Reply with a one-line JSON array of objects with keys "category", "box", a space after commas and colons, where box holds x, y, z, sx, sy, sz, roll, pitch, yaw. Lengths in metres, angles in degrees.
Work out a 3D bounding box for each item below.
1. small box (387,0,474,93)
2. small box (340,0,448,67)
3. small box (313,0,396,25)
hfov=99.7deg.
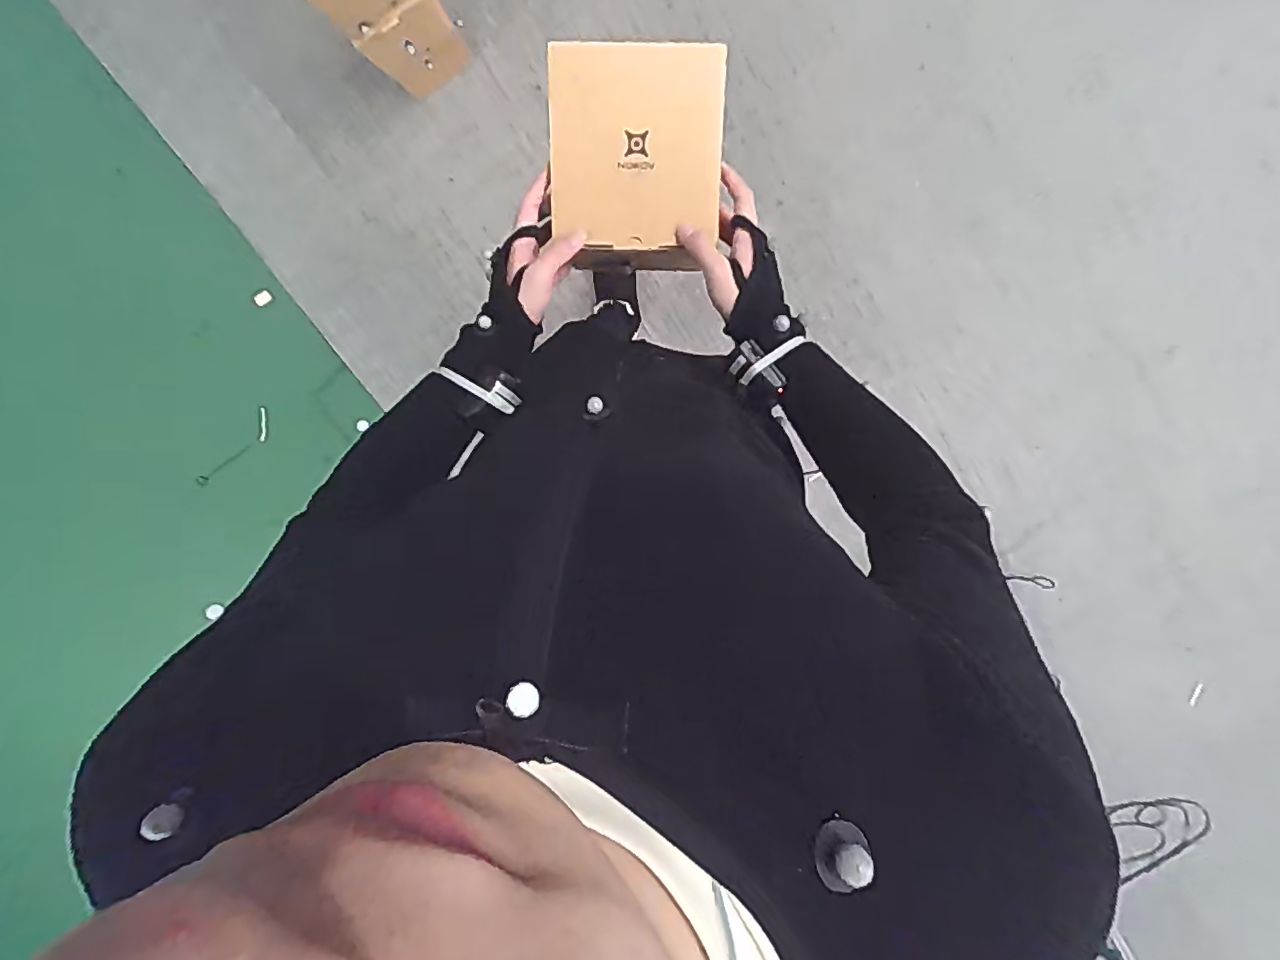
[{"category": "small box", "box": [-0.512, -1.033, 1.234, 0.179, 0.176, 0.168, -27, 107, 10]}, {"category": "small box", "box": [-0.518, -0.974, 1.082, 0.168, 0.176, 0.179, -27, 108, 10]}, {"category": "small box", "box": [-0.517, -0.931, 0.922, 0.168, 0.176, 0.179, -28, 106, 10]}]
